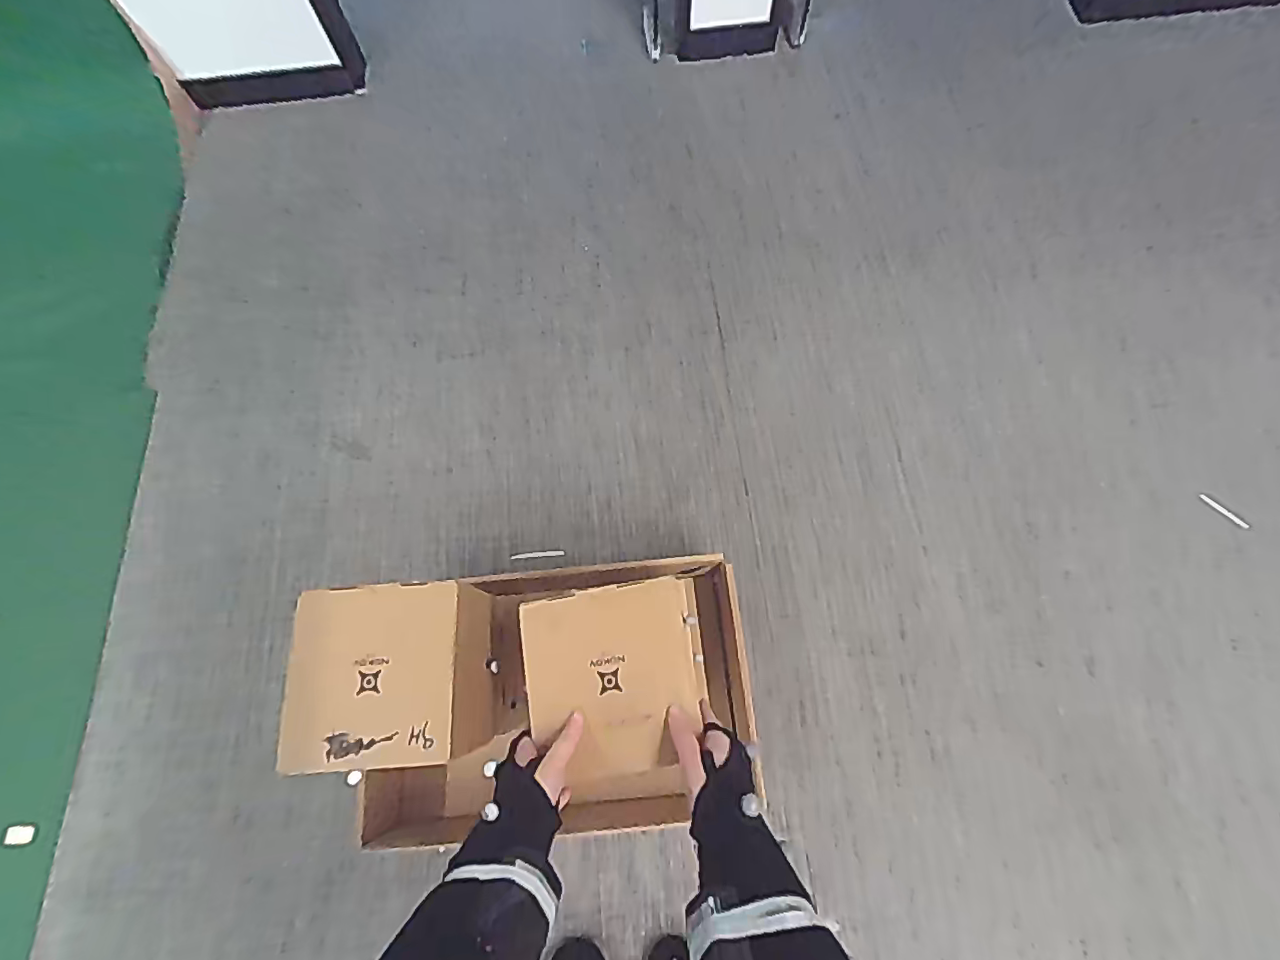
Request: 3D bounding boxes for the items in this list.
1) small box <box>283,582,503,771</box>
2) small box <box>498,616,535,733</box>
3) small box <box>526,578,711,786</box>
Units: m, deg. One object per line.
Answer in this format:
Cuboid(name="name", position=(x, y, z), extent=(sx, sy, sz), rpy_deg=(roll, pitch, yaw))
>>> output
Cuboid(name="small box", position=(-0.259, 0.220, 0.615), extent=(0.168, 0.176, 0.179), rpy_deg=(-3, 70, 1))
Cuboid(name="small box", position=(-0.265, 0.329, 0.927), extent=(0.168, 0.176, 0.179), rpy_deg=(-1, 71, 0))
Cuboid(name="small box", position=(-0.021, 0.220, 0.607), extent=(0.168, 0.176, 0.179), rpy_deg=(-10, 72, 1))
